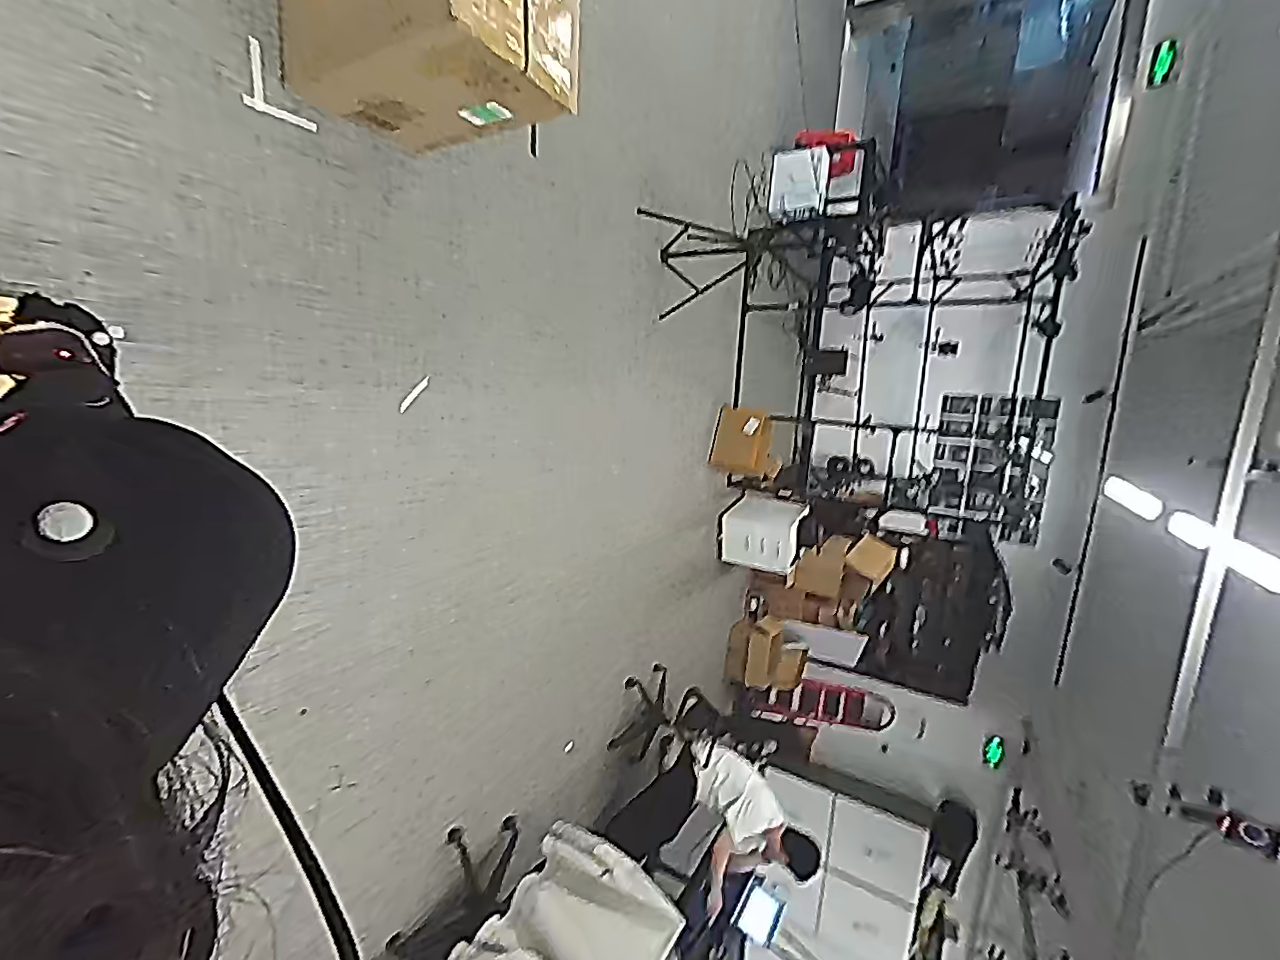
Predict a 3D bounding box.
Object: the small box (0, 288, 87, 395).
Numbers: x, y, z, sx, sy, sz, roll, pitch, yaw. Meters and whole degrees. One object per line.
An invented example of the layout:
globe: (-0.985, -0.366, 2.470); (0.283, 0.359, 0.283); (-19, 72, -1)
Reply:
small box: (-1.136, -0.249, 0.967); (0.168, 0.176, 0.179); (-11, 108, -59)
